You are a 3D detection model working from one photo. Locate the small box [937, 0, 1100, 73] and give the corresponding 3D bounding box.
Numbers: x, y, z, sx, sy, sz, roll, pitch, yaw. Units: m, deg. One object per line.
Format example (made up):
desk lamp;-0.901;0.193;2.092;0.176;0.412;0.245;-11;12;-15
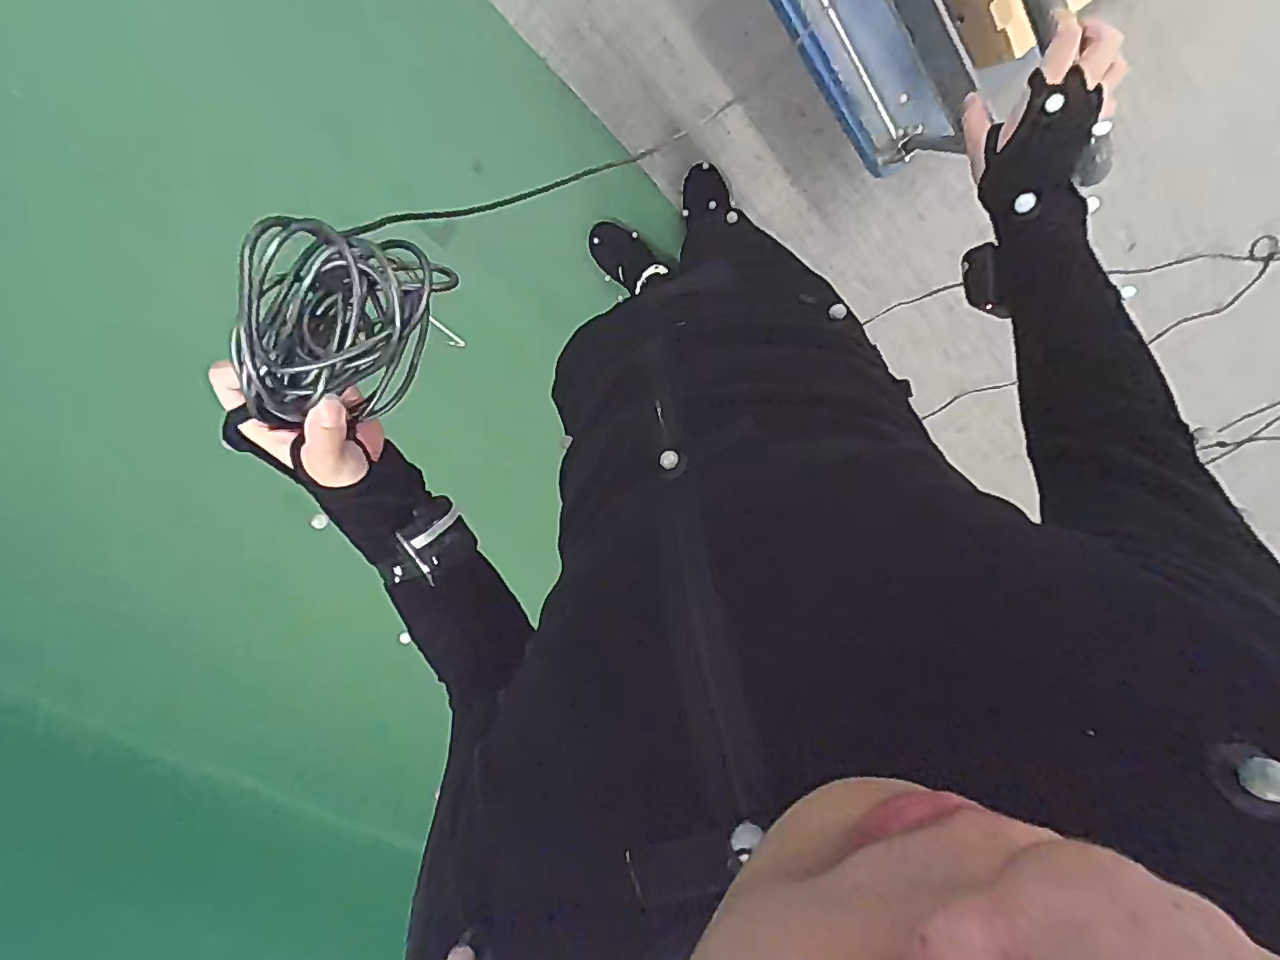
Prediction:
small box;0.667;-0.862;0.948;0.179;0.176;0.168;-35;116;19
